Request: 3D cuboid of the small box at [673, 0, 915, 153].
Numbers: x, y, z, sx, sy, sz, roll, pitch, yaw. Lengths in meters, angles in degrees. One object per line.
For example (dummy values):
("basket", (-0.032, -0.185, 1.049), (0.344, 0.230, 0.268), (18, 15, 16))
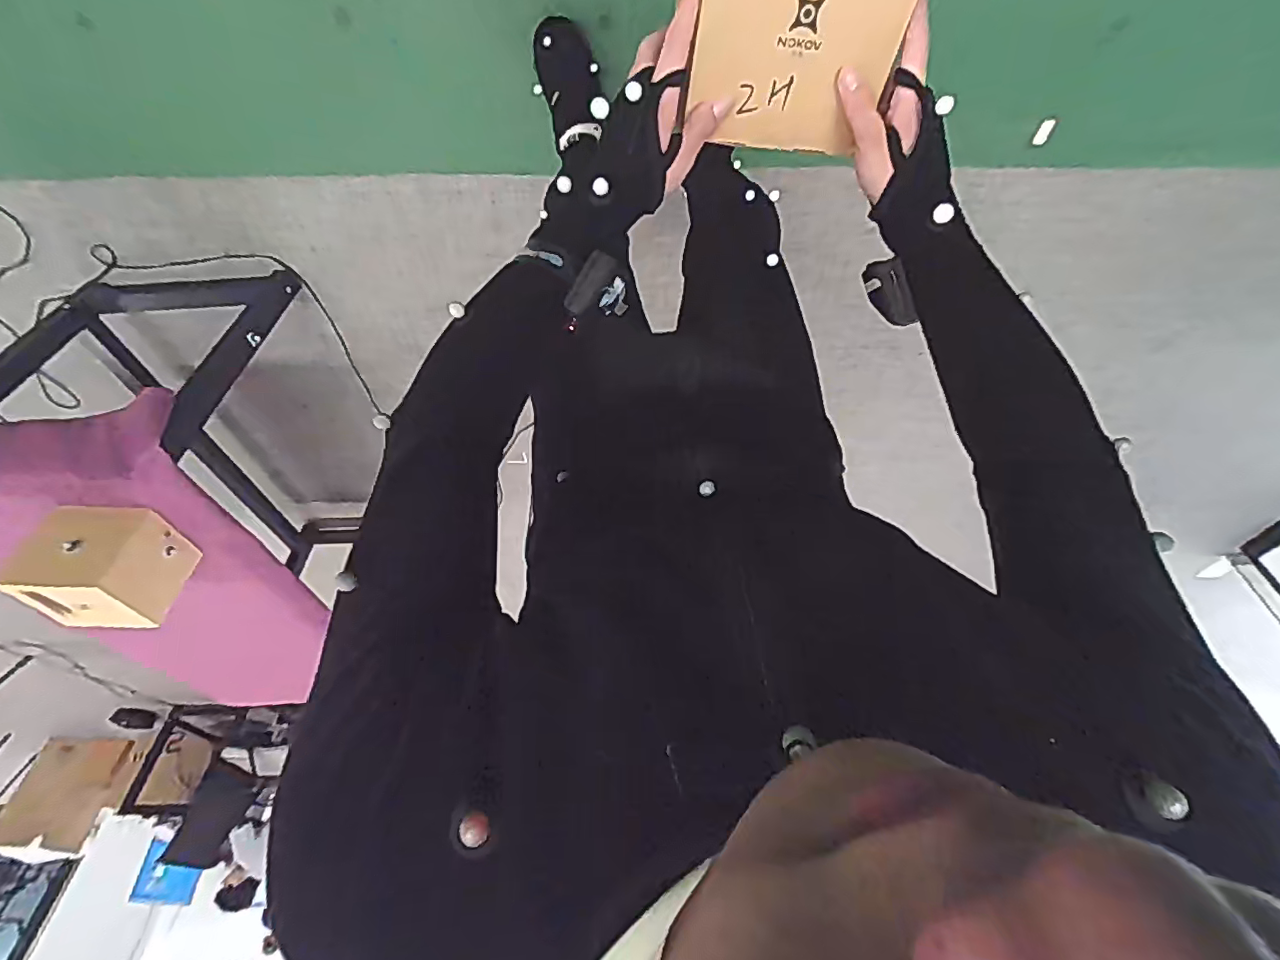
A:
("small box", (0.124, -0.419, 0.468), (0.168, 0.176, 0.179), (3, 142, -6))
